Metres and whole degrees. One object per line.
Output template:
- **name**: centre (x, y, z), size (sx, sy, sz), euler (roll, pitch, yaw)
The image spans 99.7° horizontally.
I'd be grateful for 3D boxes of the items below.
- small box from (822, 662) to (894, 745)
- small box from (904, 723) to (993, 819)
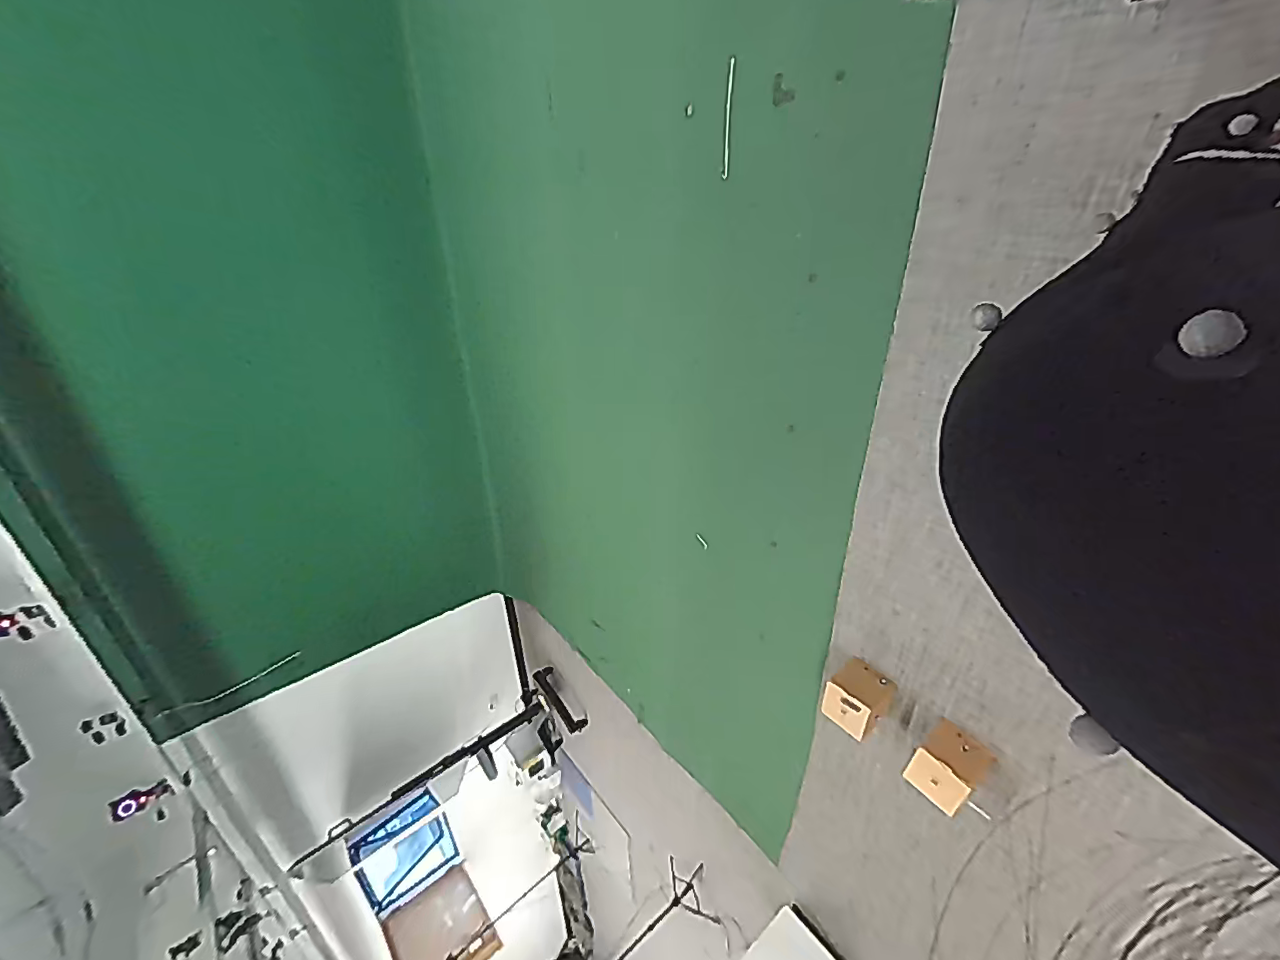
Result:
- **small box**: centre (0.780, 0.789, 1.929), size (0.168, 0.176, 0.179), euler (31, 132, 43)
- **small box**: centre (0.982, 0.920, 1.719), size (0.168, 0.176, 0.179), euler (36, 134, 39)
